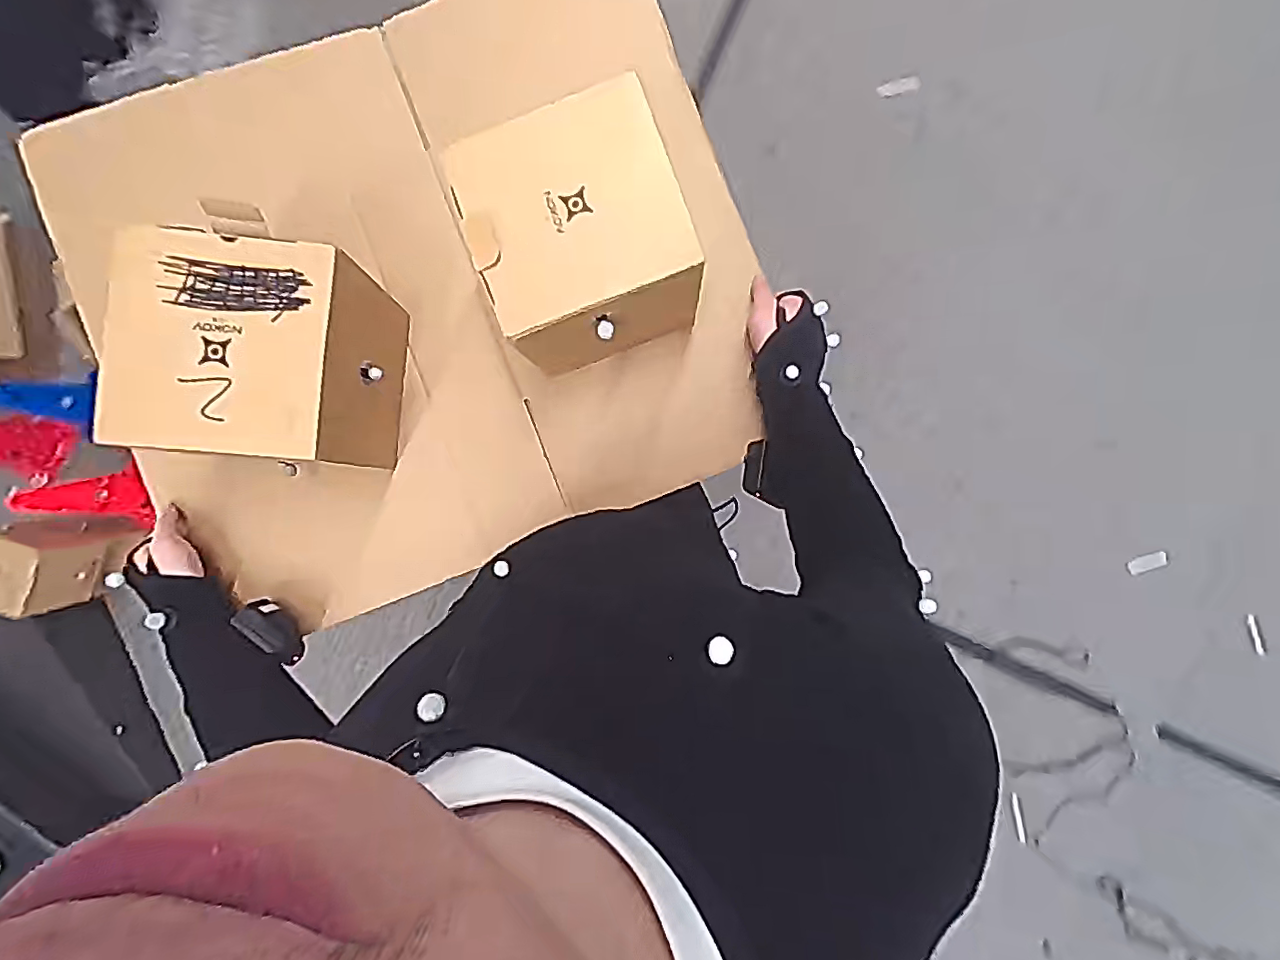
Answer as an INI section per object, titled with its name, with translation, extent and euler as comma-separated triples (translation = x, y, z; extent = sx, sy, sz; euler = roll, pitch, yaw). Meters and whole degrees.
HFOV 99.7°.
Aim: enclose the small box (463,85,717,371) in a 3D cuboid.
[small box]
translation = -0.039, -0.223, 0.529
extent = 0.179, 0.176, 0.168
euler = -20, 89, 3
